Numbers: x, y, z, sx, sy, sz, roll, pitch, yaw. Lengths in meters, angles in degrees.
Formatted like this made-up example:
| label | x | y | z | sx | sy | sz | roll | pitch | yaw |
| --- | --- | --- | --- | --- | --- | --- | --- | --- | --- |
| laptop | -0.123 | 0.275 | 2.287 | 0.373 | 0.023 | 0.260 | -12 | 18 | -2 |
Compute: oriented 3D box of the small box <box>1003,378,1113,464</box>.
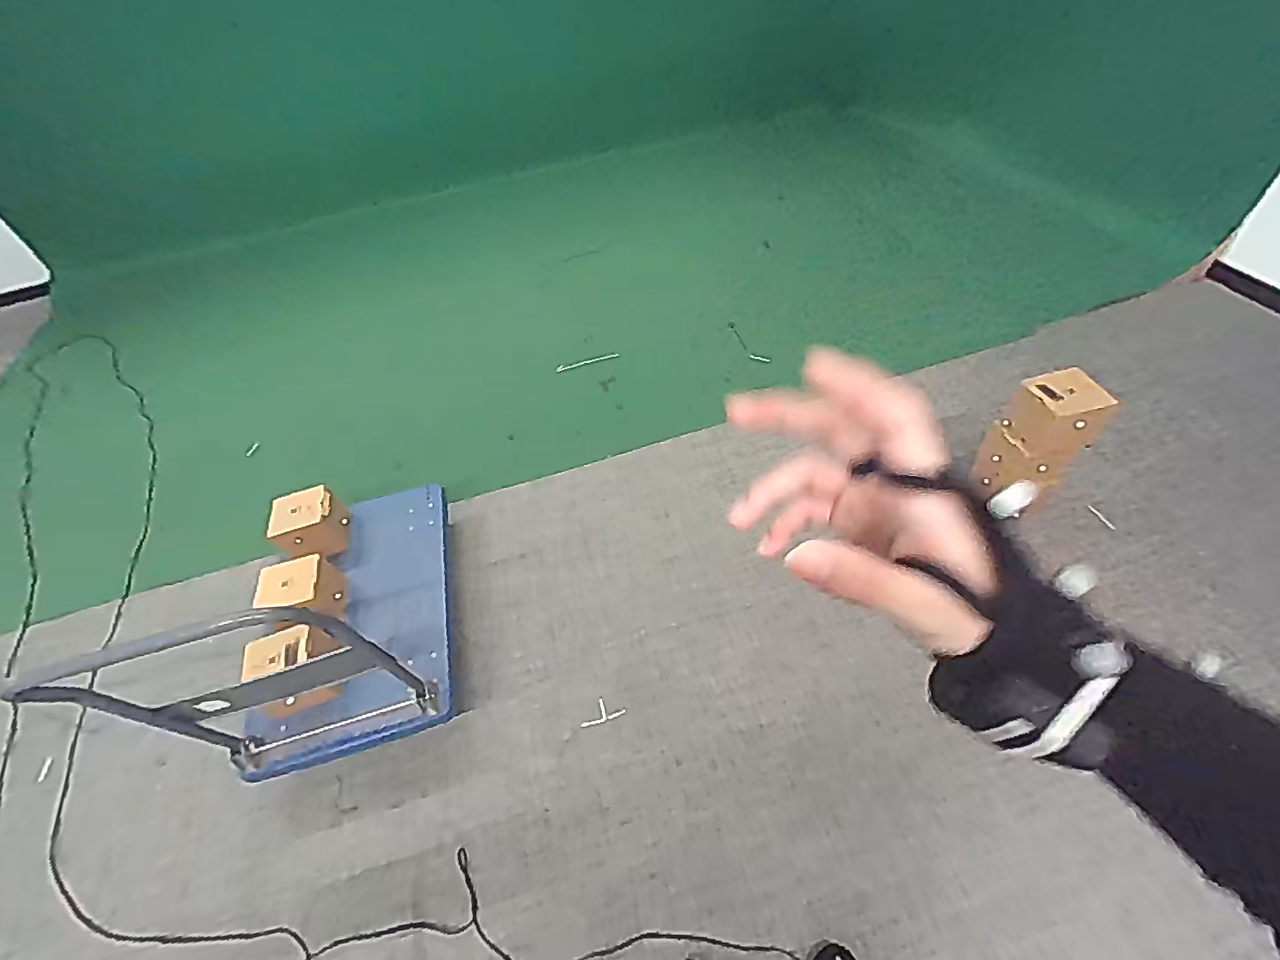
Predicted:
| label | x | y | z | sx | sy | sz | roll | pitch | yaw |
| --- | --- | --- | --- | --- | --- | --- | --- | --- | --- |
| small box | 1.209 | -0.169 | 1.589 | 0.179 | 0.176 | 0.168 | -14 | 50 | -2 |

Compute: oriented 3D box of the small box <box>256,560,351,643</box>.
| label | x | y | z | sx | sy | sz | roll | pitch | yaw |
| --- | --- | --- | --- | --- | --- | --- | --- | --- | --- |
| small box | -1.021 | 0.375 | 1.654 | 0.179 | 0.176 | 0.168 | -15 | 49 | -6 |

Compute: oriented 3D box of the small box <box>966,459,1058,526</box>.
| label | x | y | z | sx | sy | sz | roll | pitch | yaw |
| --- | --- | --- | --- | --- | --- | --- | --- | --- | --- |
| small box | 1.244 | 0.029 | 1.827 | 0.168 | 0.176 | 0.179 | -13 | 49 | -1 |

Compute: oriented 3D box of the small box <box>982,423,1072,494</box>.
| label | x | y | z | sx | sy | sz | roll | pitch | yaw |
| --- | --- | --- | --- | --- | --- | --- | --- | --- | --- |
| small box | 1.219 | -0.079 | 1.707 | 0.179 | 0.176 | 0.168 | -14 | 49 | -1 |

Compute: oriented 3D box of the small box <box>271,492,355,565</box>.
| label | x | y | z | sx | sy | sz | roll | pitch | yaw |
| --- | --- | --- | --- | --- | --- | --- | --- | --- | --- |
| small box | -1.100 | 0.173 | 1.831 | 0.179 | 0.176 | 0.168 | -16 | 51 | -5 |
